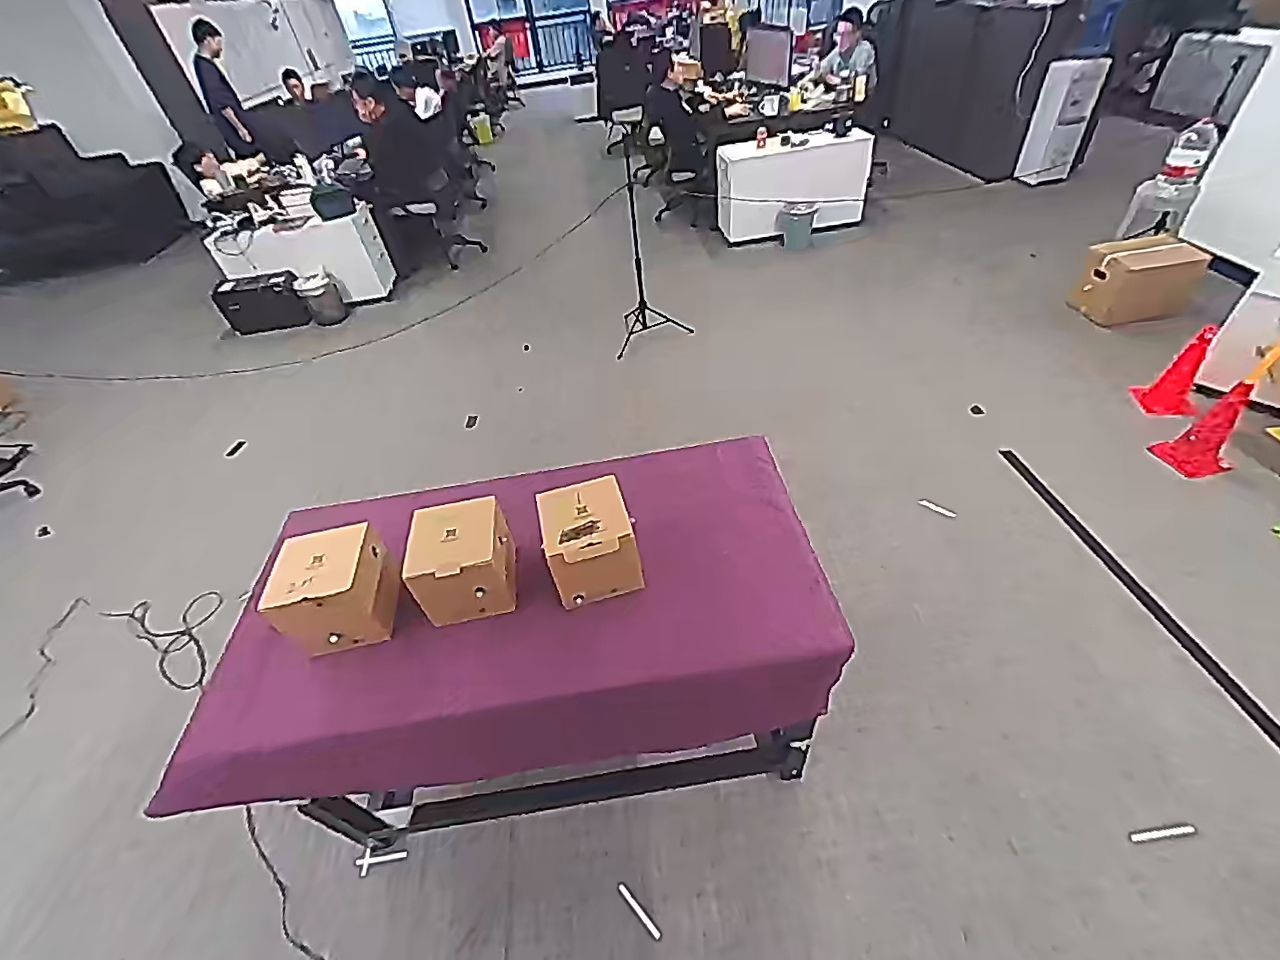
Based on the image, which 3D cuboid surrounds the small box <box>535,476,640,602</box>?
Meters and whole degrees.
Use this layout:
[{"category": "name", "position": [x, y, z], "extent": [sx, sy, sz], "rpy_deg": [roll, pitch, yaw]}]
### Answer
[{"category": "small box", "position": [-0.104, 0.125, 1.090], "extent": [0.168, 0.176, 0.179], "rpy_deg": [-15, 43, -6]}]

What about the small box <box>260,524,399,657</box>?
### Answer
[{"category": "small box", "position": [-0.599, 0.219, 1.072], "extent": [0.168, 0.176, 0.179], "rpy_deg": [-13, 44, -3]}]

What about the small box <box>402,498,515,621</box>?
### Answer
[{"category": "small box", "position": [-0.354, 0.166, 1.091], "extent": [0.168, 0.176, 0.179], "rpy_deg": [-11, 43, -3]}]
